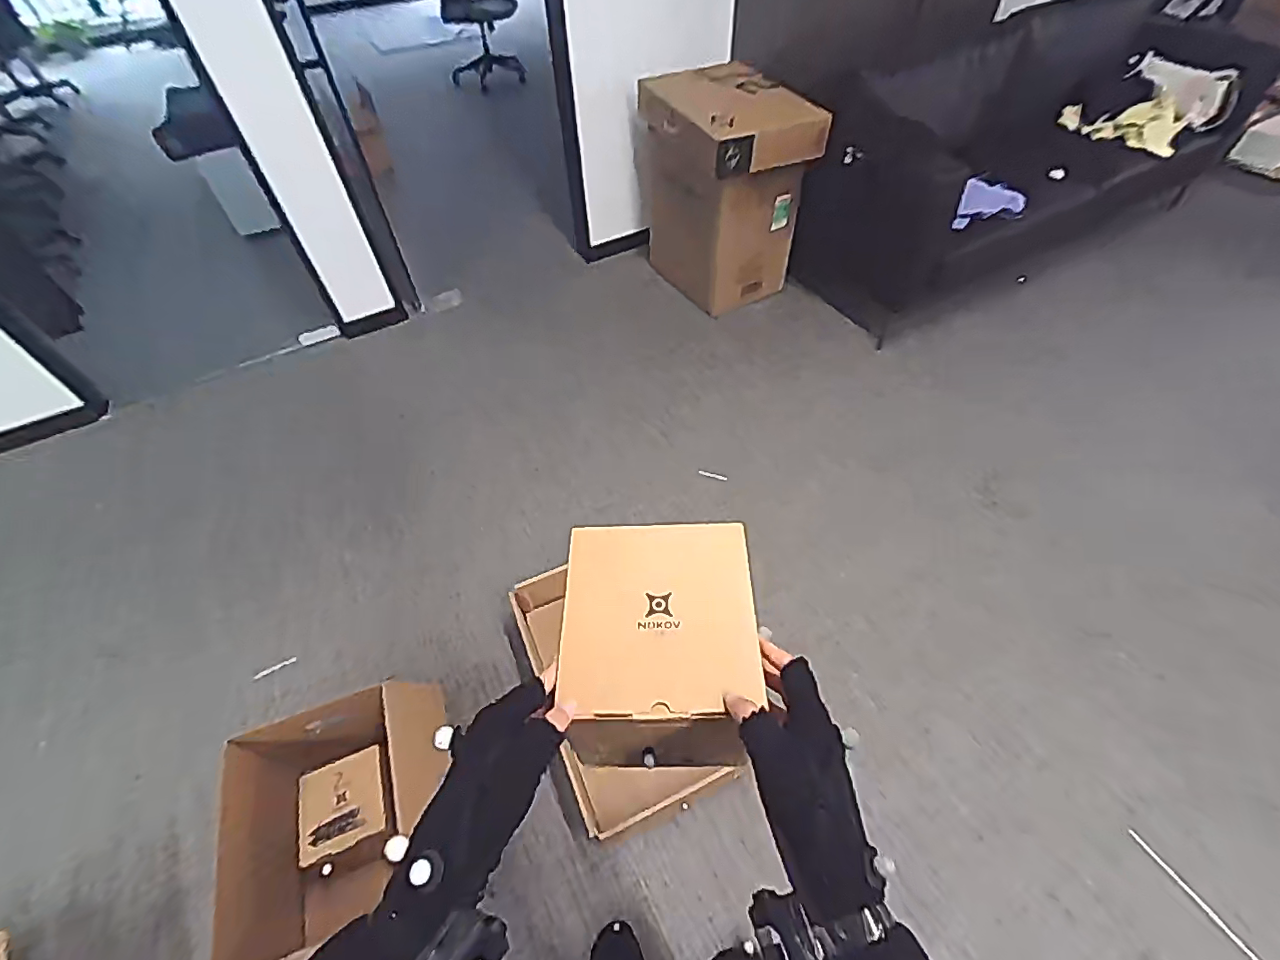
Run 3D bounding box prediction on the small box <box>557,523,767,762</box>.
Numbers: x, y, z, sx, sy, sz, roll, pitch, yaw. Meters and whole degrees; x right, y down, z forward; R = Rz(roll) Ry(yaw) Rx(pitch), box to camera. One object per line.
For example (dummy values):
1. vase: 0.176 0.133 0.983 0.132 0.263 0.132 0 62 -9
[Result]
1. small box: 0.021 0.161 0.530 0.168 0.176 0.179 -2 51 3
